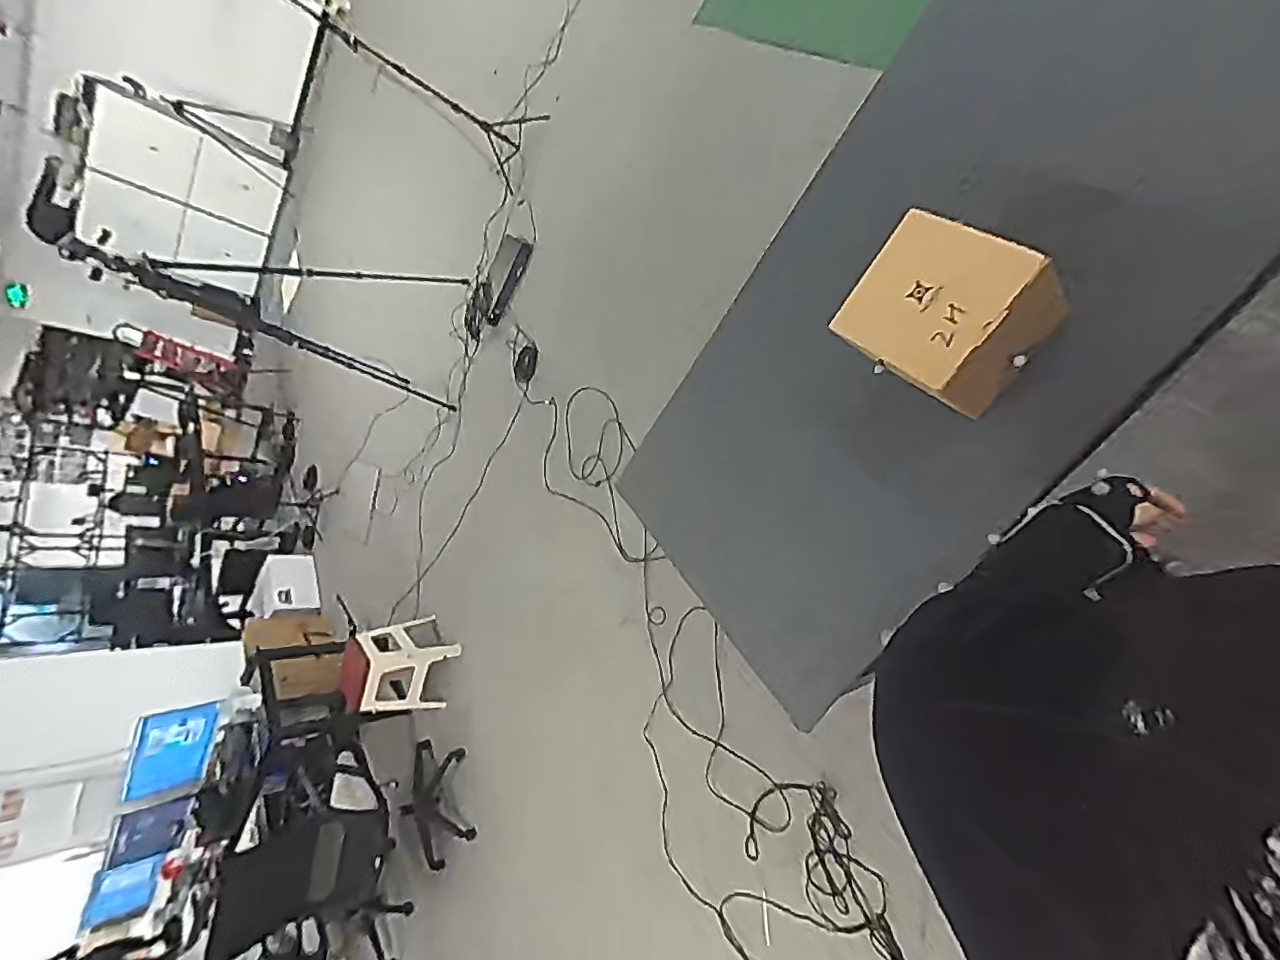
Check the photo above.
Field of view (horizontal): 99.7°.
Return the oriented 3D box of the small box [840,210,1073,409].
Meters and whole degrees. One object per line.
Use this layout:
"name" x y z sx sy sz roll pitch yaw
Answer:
"small box" 0.404 -0.209 0.695 0.179 0.176 0.168 49 117 38
